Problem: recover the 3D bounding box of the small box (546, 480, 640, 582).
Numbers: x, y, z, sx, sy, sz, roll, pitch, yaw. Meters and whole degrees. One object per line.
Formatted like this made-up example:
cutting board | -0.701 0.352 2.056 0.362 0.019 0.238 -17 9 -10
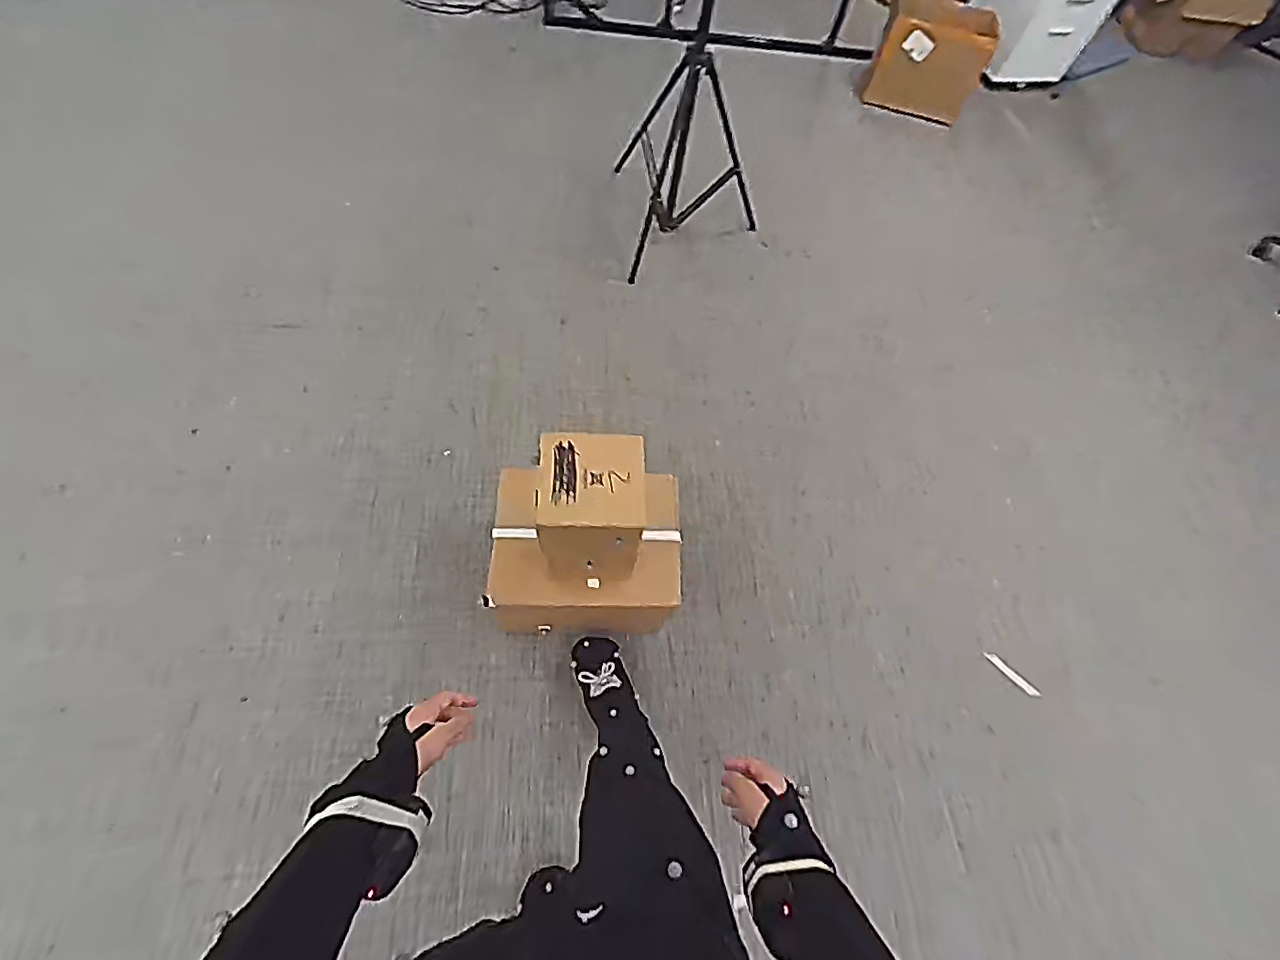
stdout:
small box | -0.098 0.108 1.096 0.179 0.176 0.168 0 66 -8
